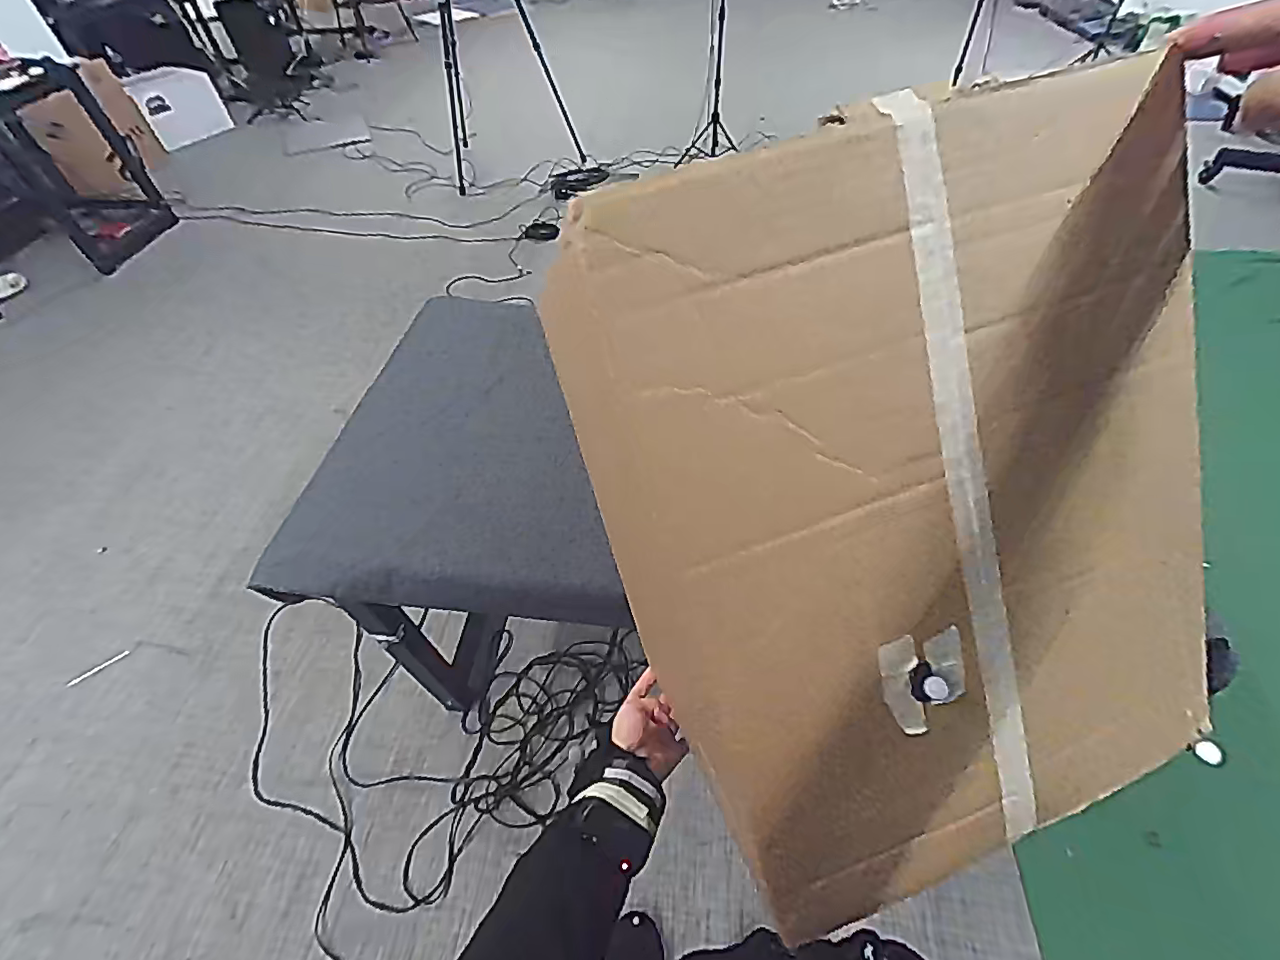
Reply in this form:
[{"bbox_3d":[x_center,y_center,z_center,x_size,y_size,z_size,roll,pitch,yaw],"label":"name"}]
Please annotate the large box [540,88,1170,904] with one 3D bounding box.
[{"bbox_3d":[0.139,-0.001,0.446,0.320,0.408,0.320,-20,15,-10],"label":"large box"}]
